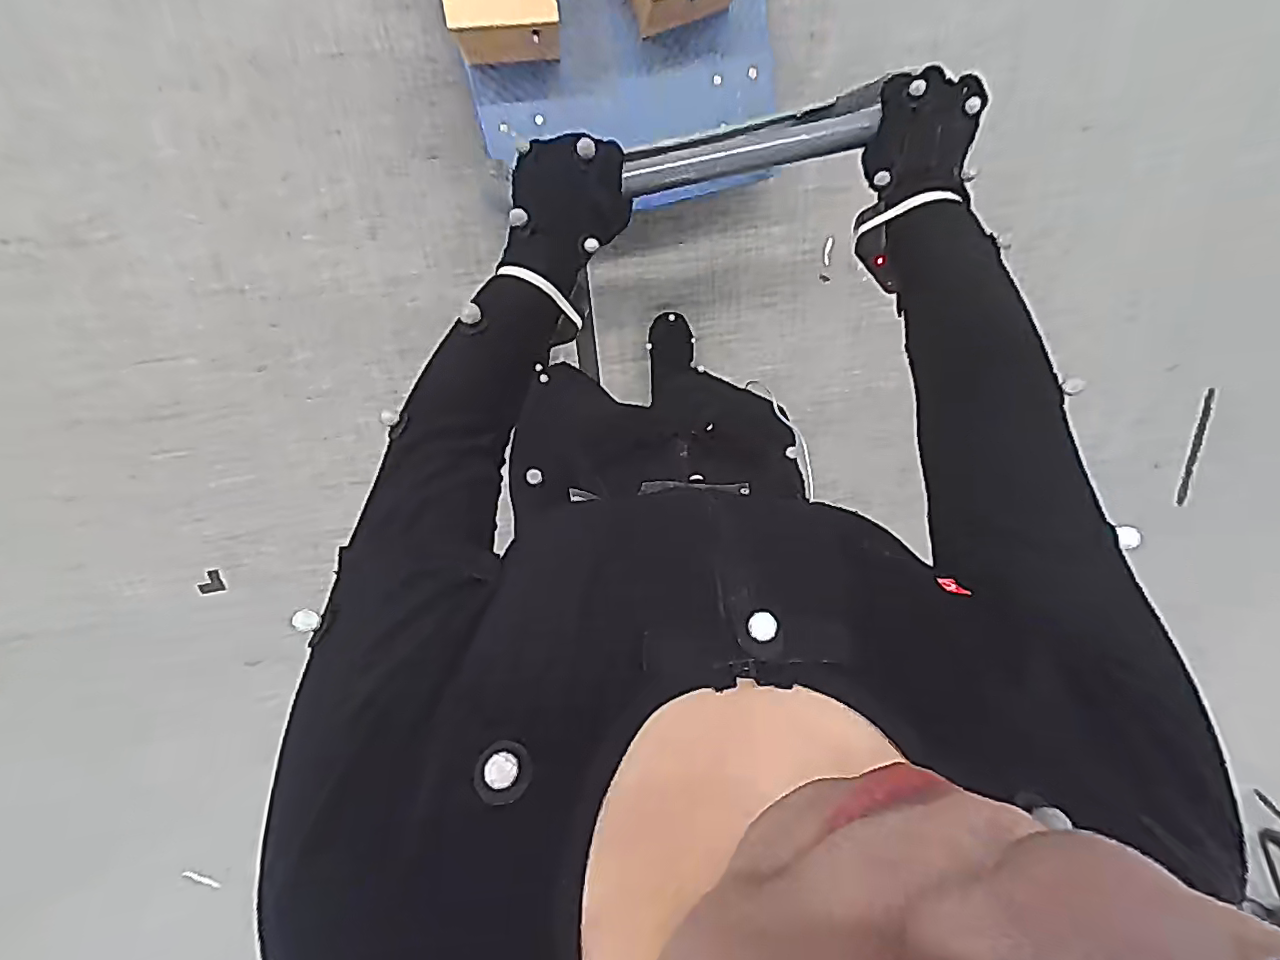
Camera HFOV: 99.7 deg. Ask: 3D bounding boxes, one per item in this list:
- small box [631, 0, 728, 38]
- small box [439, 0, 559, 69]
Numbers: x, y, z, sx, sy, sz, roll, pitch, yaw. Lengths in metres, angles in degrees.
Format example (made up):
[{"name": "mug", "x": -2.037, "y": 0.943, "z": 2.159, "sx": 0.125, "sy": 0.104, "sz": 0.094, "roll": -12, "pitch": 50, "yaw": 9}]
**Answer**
[{"name": "small box", "x": 0.063, "y": -0.874, "z": 0.890, "sx": 0.179, "sy": 0.176, "sz": 0.168, "roll": -19, "pitch": 113, "yaw": 1}, {"name": "small box", "x": -0.232, "y": -0.802, "z": 0.886, "sx": 0.179, "sy": 0.176, "sz": 0.168, "roll": -8, "pitch": 112, "yaw": -5}]
